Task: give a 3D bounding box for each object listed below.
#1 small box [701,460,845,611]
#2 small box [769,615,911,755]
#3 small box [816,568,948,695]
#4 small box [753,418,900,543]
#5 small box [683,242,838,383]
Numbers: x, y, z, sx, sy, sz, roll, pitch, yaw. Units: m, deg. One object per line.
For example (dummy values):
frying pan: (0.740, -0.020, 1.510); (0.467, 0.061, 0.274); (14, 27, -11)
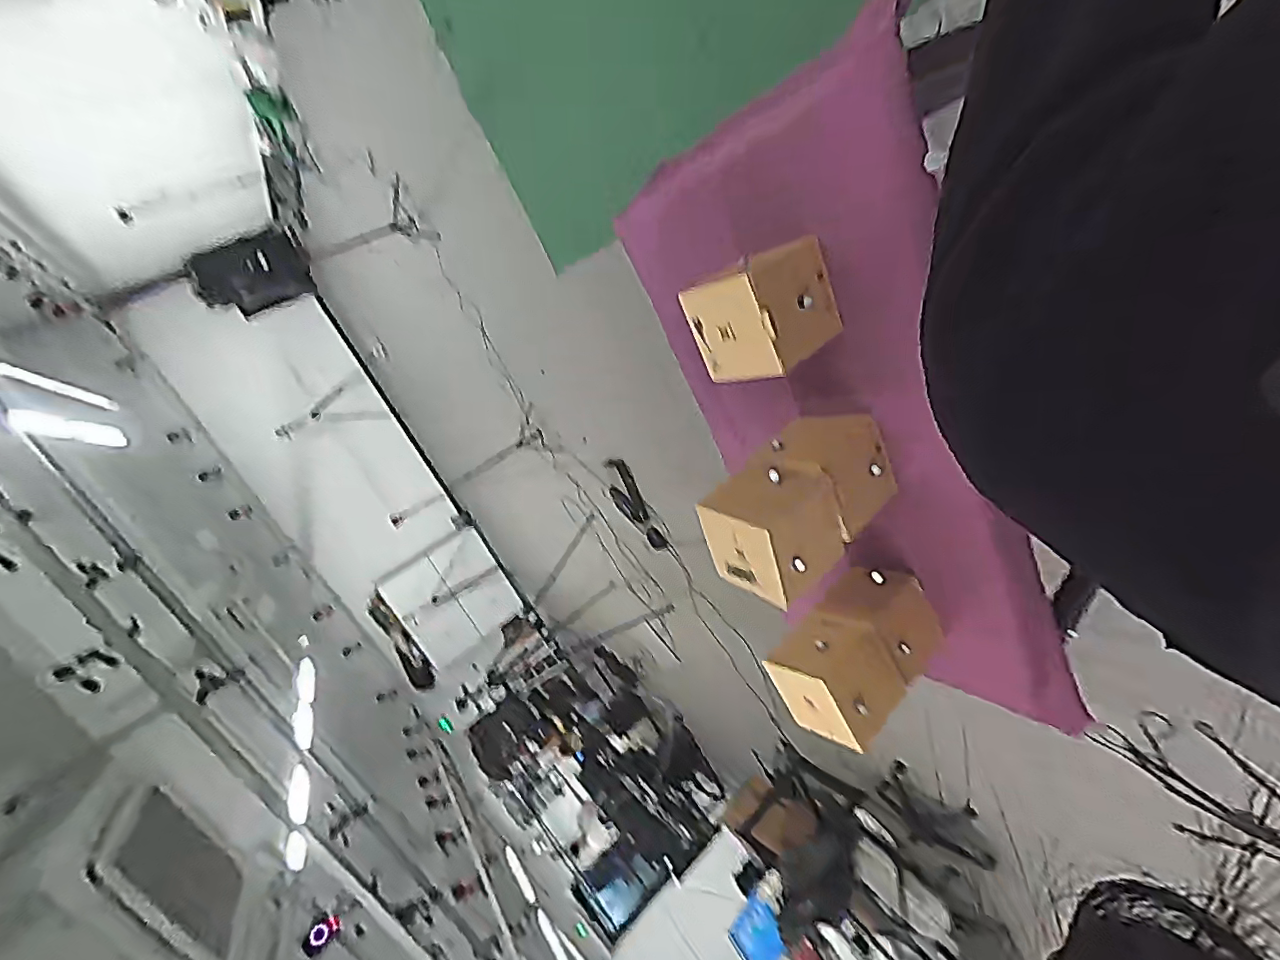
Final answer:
small box: (0.241, 0.090, 0.957); (0.168, 0.176, 0.179); (19, 138, 51)
small box: (0.398, 0.394, 1.075); (0.179, 0.176, 0.168); (59, 153, -12)
small box: (0.517, 0.312, 1.149); (0.168, 0.176, 0.179); (-6, 117, 61)
small box: (0.355, -0.006, 1.026); (0.179, 0.176, 0.168); (5, 127, 58)
small box: (0.212, -0.282, 0.924); (0.179, 0.176, 0.168); (8, 129, 57)
